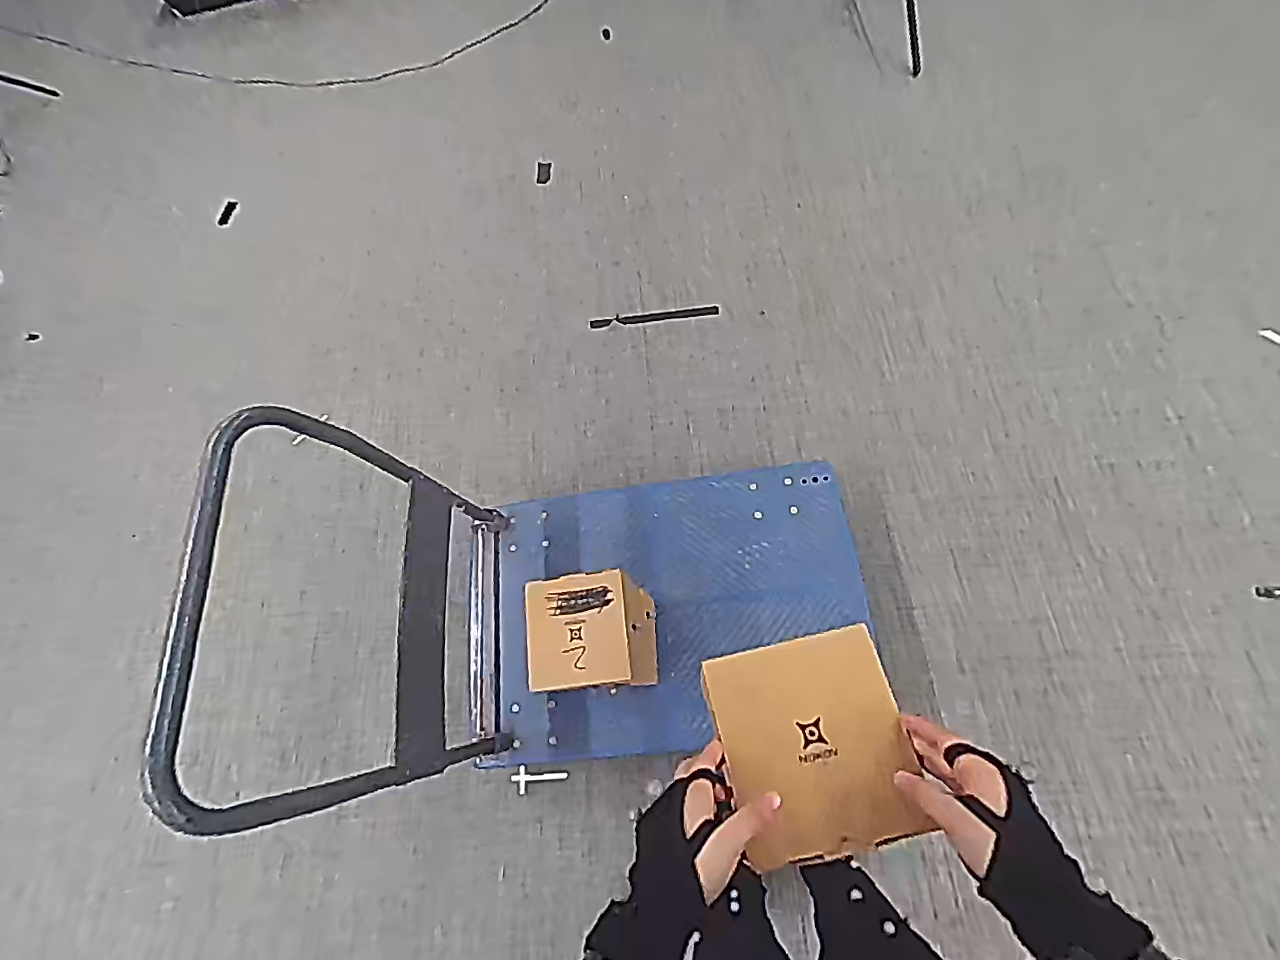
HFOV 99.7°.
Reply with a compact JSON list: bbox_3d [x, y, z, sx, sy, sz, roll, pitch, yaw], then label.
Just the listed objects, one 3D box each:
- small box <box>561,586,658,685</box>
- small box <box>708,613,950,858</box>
[{"bbox_3d":[-0.055,0.318,1.091,0.168,0.176,0.179,-5,69,8],"label":"small box"},{"bbox_3d":[0.171,0.256,0.561,0.168,0.176,0.179,-14,65,-1],"label":"small box"}]
